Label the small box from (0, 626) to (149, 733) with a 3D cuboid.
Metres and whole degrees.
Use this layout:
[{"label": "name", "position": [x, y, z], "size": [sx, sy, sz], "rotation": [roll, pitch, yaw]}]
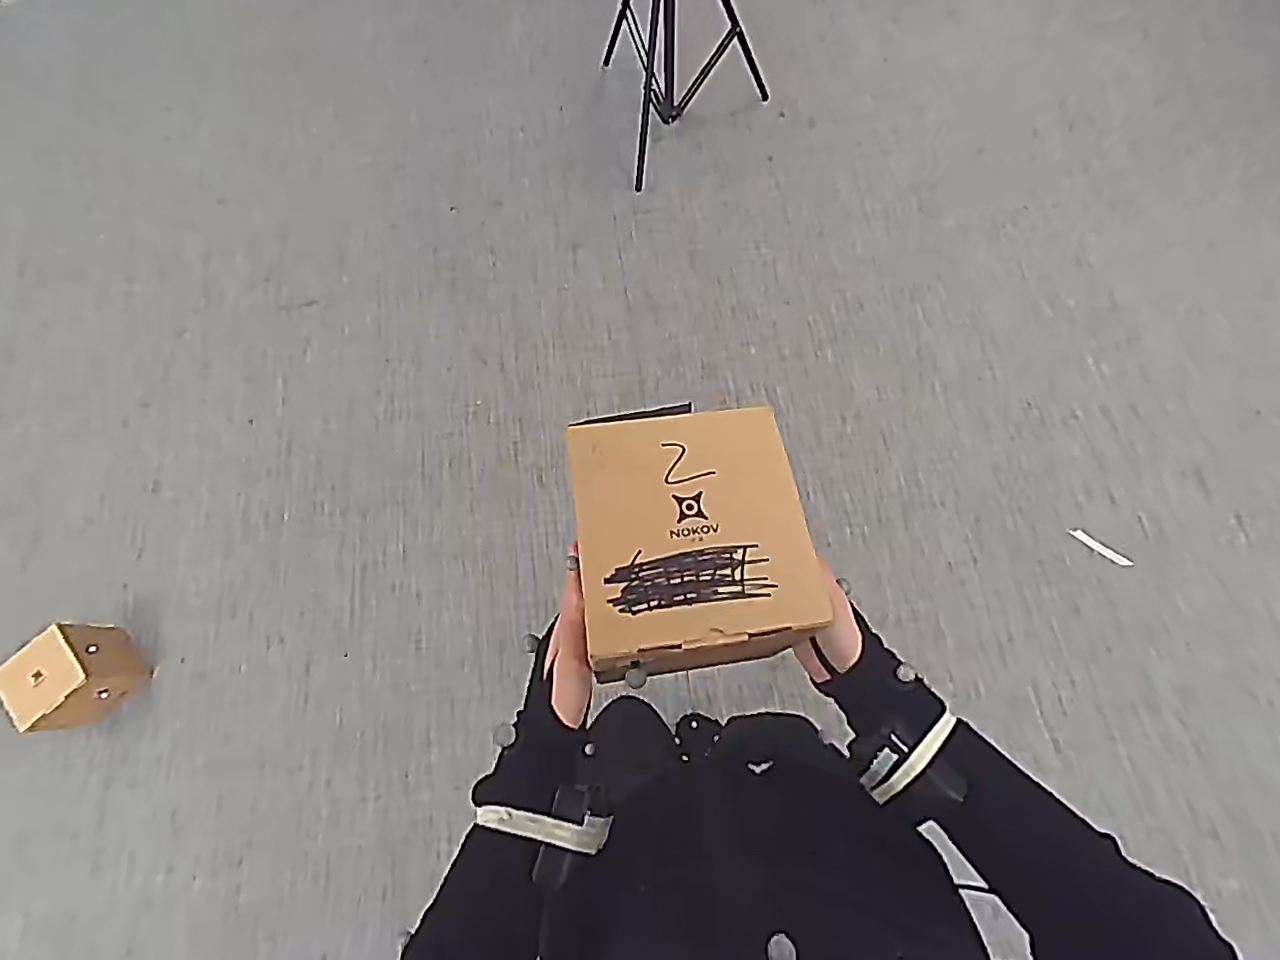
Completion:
[{"label": "small box", "position": [-1.362, 0.476, 1.310], "size": [0.179, 0.176, 0.168], "rotation": [42, 78, 16]}]
